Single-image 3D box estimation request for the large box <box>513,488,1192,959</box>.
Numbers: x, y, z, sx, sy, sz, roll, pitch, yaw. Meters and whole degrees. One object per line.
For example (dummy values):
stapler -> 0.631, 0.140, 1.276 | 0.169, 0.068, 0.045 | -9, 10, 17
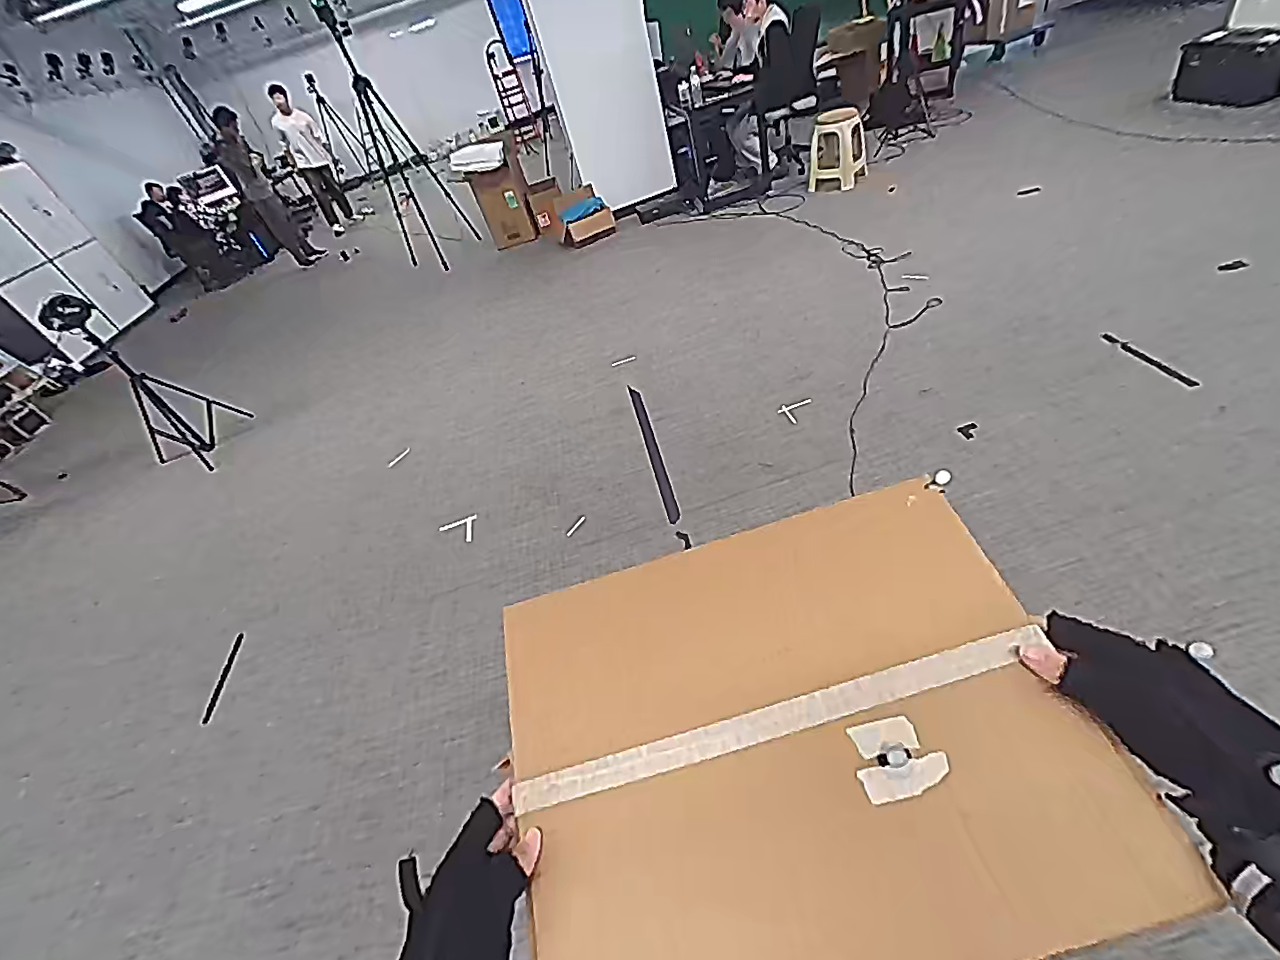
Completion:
large box -> 0.134, 0.270, 0.529 | 0.408, 0.320, 0.320 | -18, 54, 1
